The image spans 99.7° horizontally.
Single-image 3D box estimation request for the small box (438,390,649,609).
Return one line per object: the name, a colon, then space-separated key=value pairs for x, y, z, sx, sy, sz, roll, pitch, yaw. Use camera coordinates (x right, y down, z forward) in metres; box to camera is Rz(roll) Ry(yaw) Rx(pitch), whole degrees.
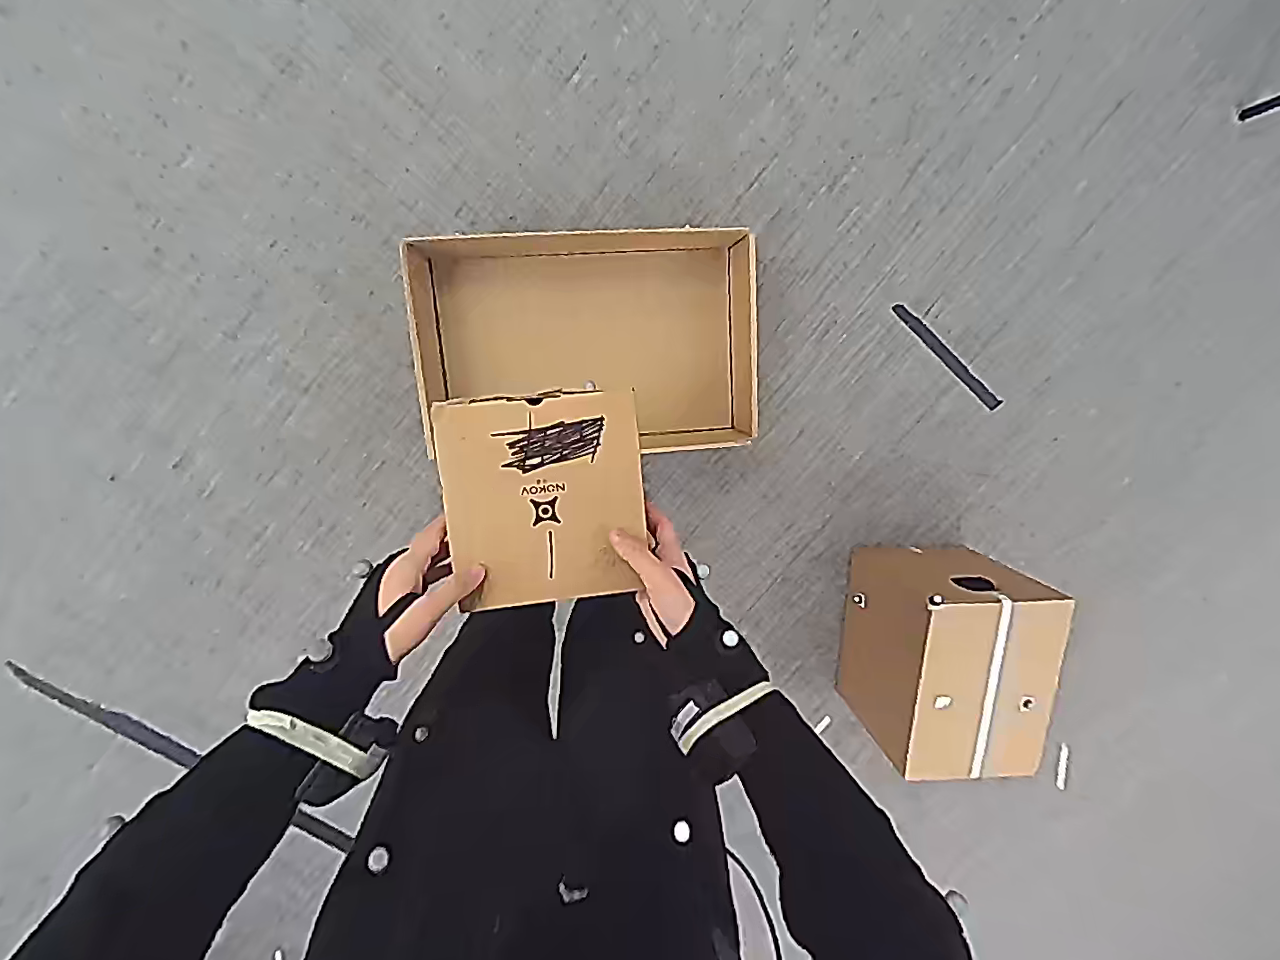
small box: x=-0.089 y=0.007 z=0.534 sx=0.168 sy=0.176 sz=0.179 roll=-6 pitch=99 yaw=-7
